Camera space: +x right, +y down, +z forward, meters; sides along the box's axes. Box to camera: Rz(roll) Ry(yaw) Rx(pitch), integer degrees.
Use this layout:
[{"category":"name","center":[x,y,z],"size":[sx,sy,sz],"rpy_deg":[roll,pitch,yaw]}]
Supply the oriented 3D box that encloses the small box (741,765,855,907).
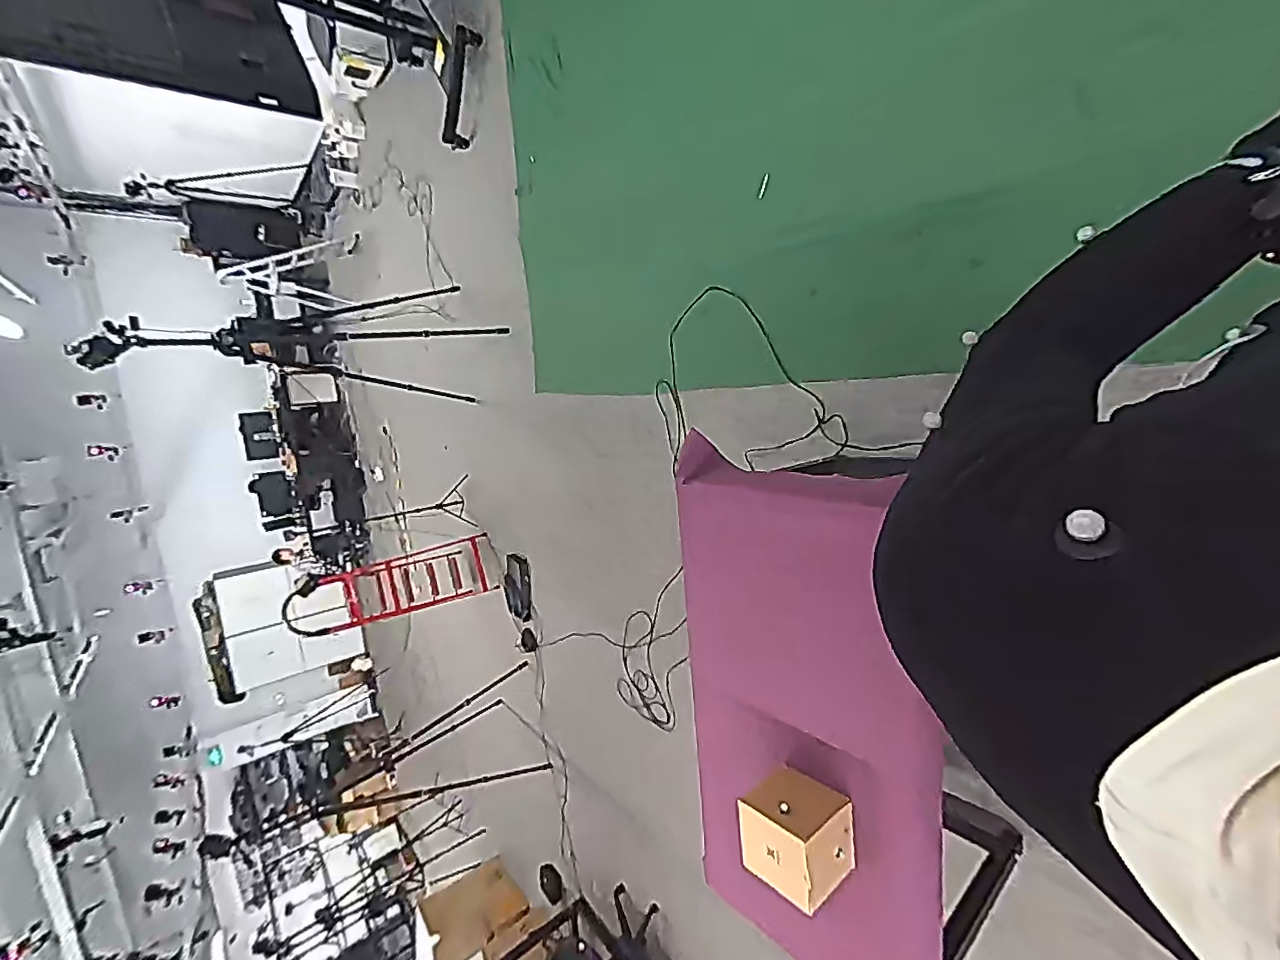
[{"category":"small box","center":[0.346,0.760,1.183],"size":[0.179,0.176,0.168],"rpy_deg":[3,102,50]}]
